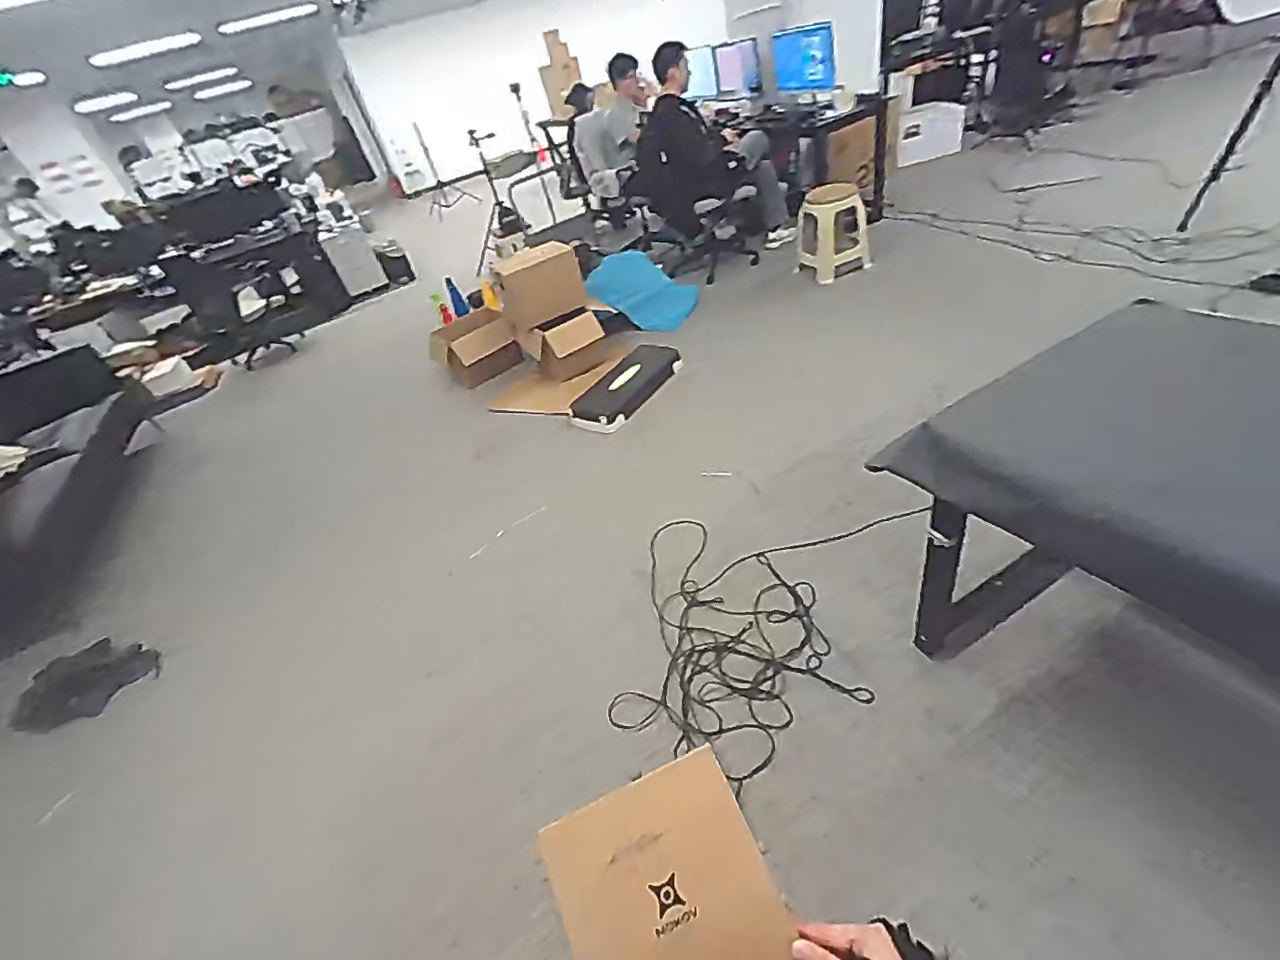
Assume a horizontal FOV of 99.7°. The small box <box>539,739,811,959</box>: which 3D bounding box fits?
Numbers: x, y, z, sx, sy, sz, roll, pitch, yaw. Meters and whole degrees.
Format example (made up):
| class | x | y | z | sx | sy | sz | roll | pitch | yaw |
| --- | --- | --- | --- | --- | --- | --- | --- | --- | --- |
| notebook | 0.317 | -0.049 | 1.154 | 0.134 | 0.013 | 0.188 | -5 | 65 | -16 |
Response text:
| class | x | y | z | sx | sy | sz | roll | pitch | yaw |
| --- | --- | --- | --- | --- | --- | --- | --- | --- | --- |
| small box | 0.023 | 0.364 | 0.495 | 0.168 | 0.176 | 0.179 | -21 | 61 | -13 |
